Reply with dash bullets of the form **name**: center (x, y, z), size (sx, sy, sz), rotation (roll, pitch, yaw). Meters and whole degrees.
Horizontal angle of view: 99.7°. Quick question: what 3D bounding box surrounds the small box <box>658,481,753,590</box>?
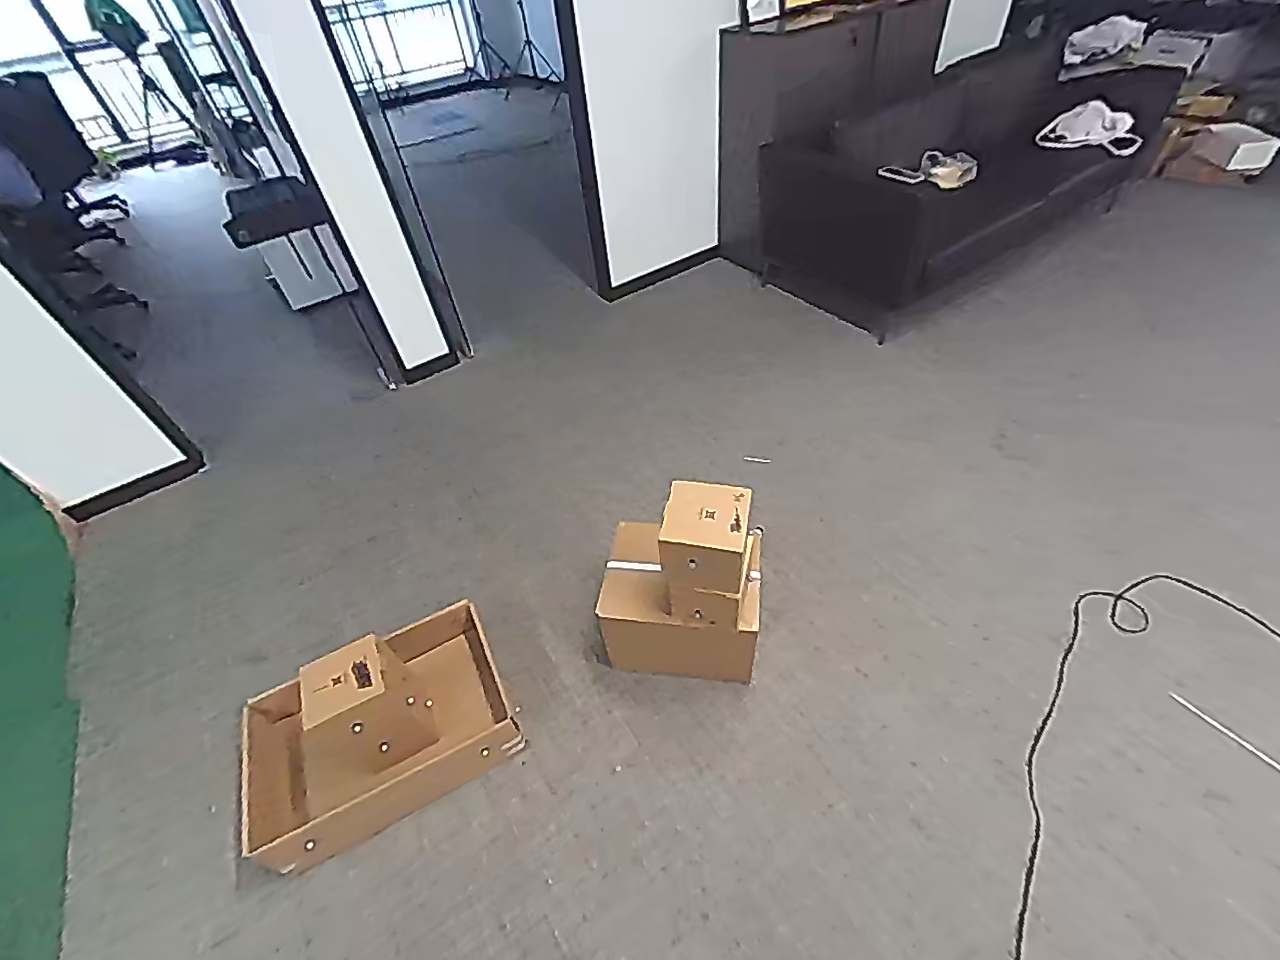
- **small box**: center (0.148, 0.124, 1.184), size (0.179, 0.176, 0.168), rotation (6, 51, 14)

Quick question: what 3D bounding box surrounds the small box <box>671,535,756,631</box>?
- **small box**: center (0.177, 0.234, 1.304), size (0.168, 0.176, 0.179), rotation (10, 52, 16)

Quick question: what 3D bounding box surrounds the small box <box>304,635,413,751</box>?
- **small box**: center (-0.660, 0.508, 1.284), size (0.179, 0.176, 0.168), rotation (-25, 49, -13)

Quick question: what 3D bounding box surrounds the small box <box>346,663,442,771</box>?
- **small box**: center (-0.644, 0.619, 1.404), size (0.179, 0.176, 0.168), rotation (-24, 49, -16)
